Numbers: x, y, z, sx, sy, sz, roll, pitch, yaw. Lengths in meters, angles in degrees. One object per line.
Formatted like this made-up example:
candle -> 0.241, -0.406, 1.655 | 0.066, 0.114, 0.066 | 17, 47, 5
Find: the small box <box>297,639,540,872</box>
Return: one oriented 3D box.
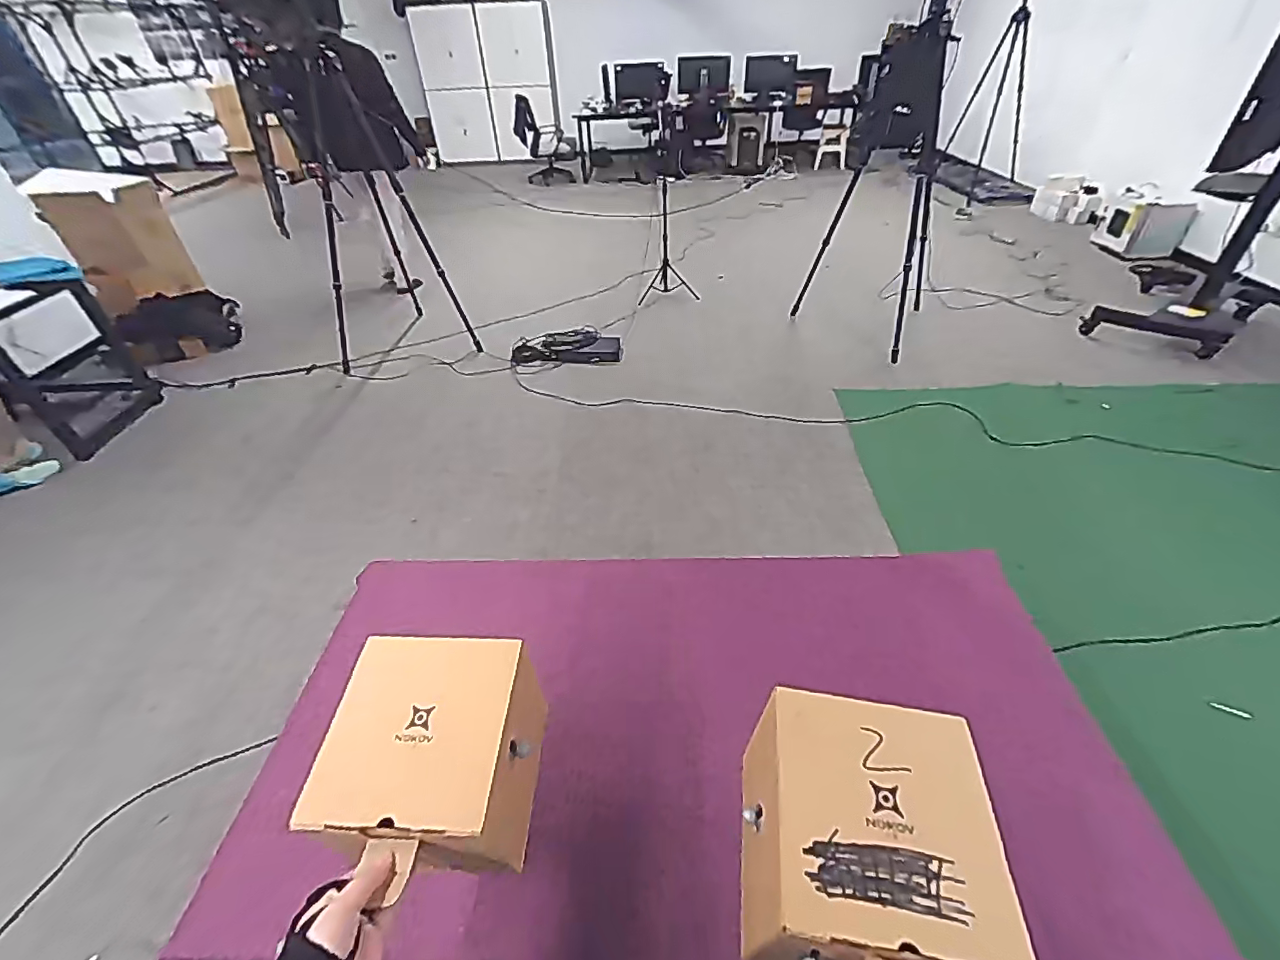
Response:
small box -> -0.207, 0.289, 0.571 | 0.168, 0.176, 0.179 | 0, 46, 3
